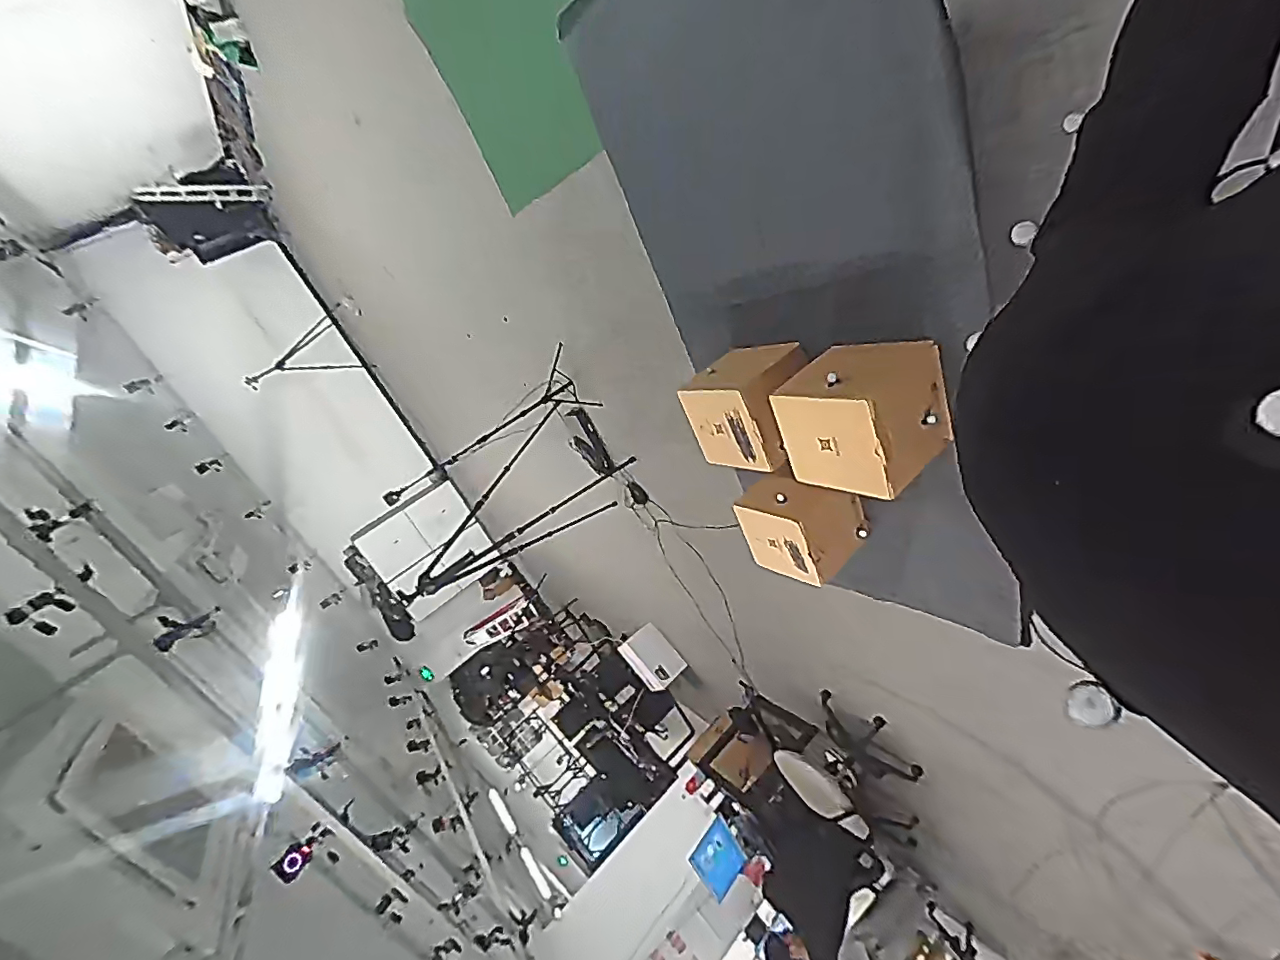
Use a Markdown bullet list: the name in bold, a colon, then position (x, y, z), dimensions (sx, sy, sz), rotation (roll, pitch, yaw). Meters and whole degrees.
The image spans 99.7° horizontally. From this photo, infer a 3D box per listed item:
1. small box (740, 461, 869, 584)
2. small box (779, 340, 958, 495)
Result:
- **small box**: position (0.342, 0.077, 1.099), dimensions (0.179, 0.176, 0.168), rotation (15, 136, 56)
- **small box**: position (0.351, -0.102, 0.832), dimensions (0.179, 0.176, 0.168), rotation (16, 137, 56)
